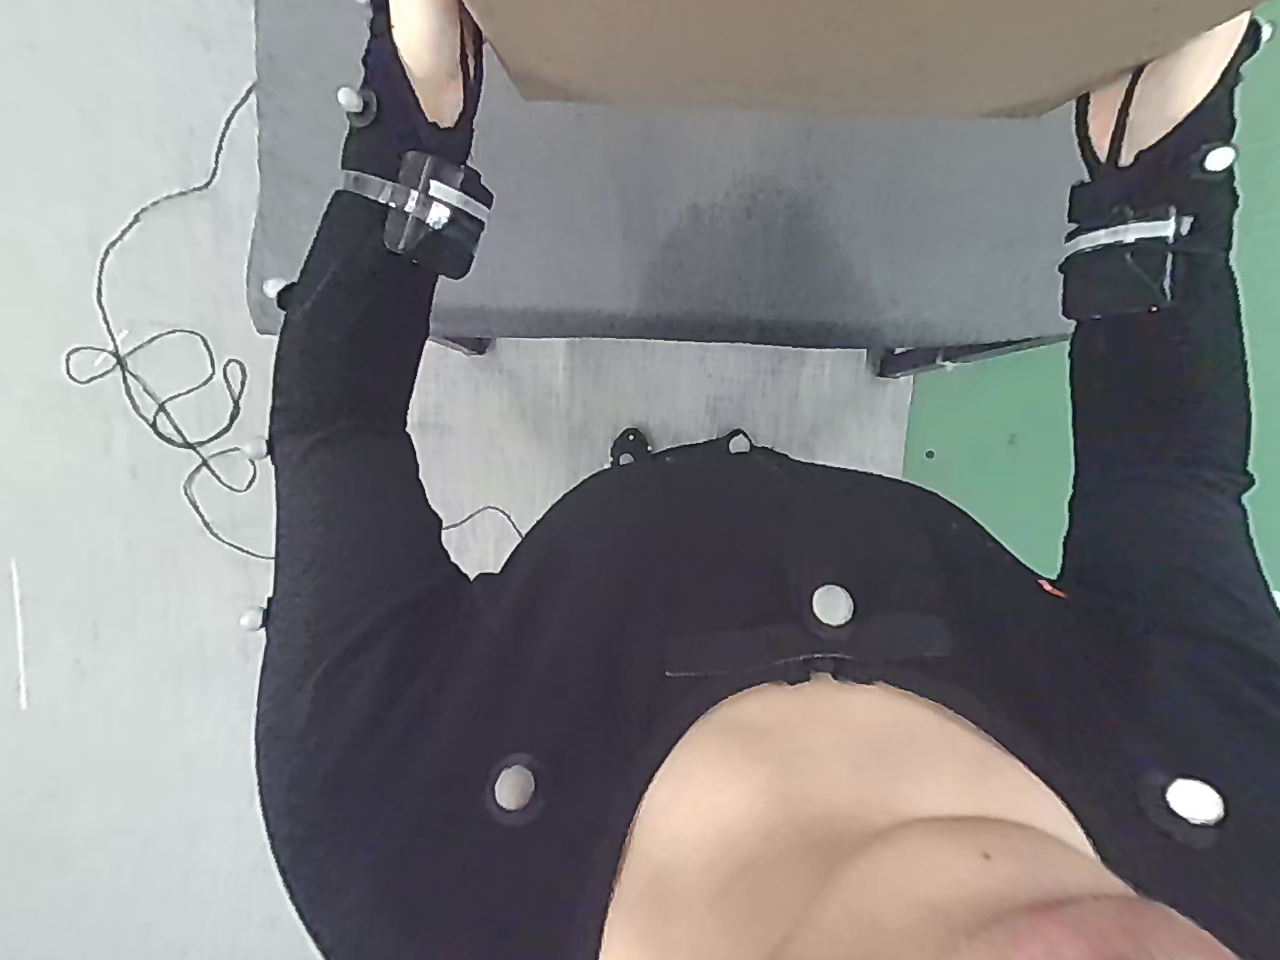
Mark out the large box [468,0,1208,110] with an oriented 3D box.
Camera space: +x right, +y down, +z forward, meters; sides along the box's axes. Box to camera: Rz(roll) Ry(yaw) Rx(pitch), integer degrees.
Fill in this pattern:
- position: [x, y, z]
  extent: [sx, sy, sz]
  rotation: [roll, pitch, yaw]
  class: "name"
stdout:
- position: [0.103, -0.395, 0.242]
  extent: [0.408, 0.320, 0.320]
  rotation: [1, 109, 0]
  class: "large box"
